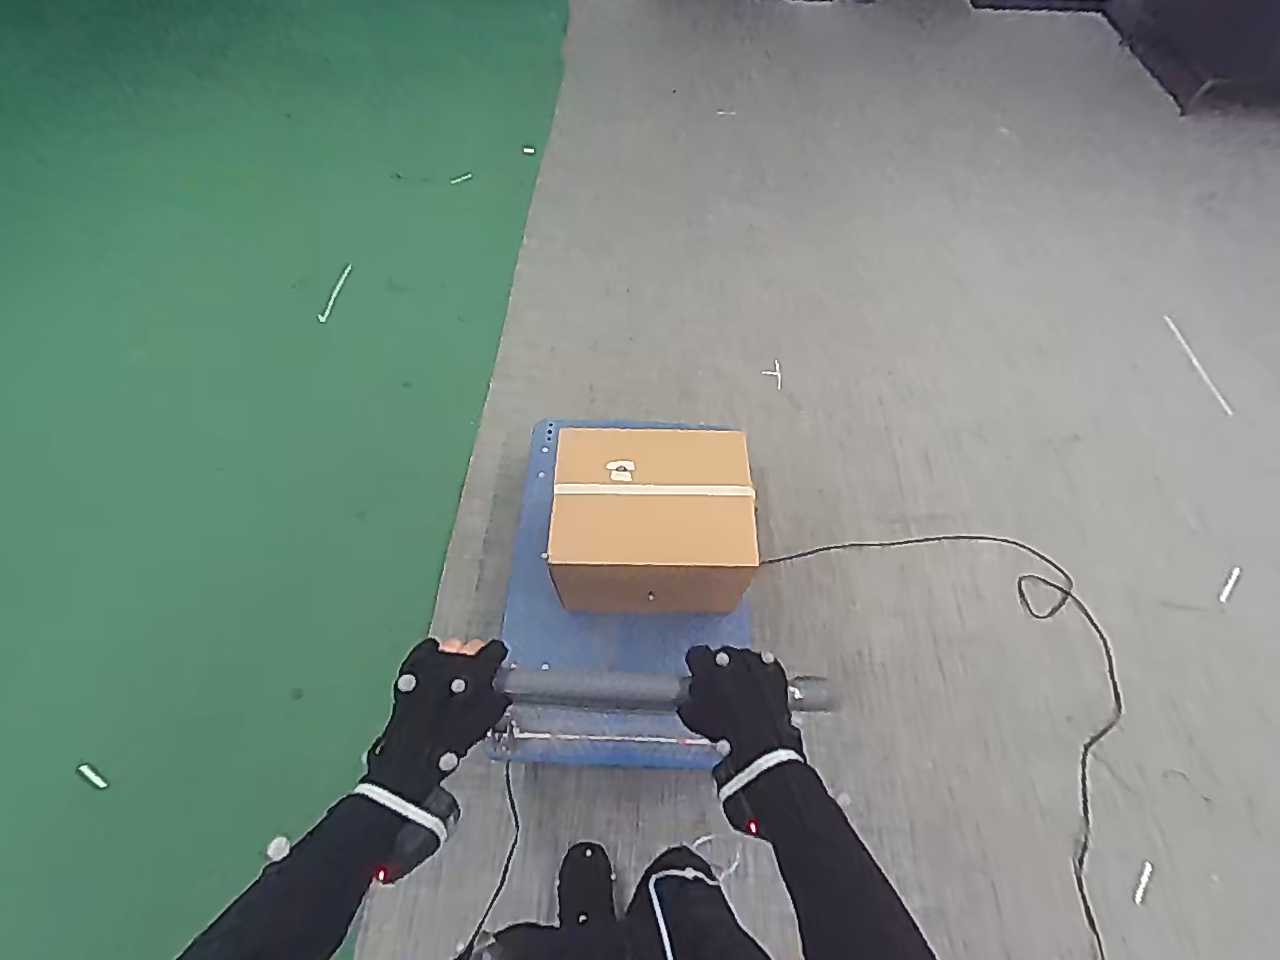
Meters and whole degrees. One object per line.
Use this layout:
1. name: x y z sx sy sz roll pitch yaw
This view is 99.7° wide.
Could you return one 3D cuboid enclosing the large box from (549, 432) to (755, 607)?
1. large box: 0.027 0.102 1.236 0.408 0.320 0.320 0 60 1
